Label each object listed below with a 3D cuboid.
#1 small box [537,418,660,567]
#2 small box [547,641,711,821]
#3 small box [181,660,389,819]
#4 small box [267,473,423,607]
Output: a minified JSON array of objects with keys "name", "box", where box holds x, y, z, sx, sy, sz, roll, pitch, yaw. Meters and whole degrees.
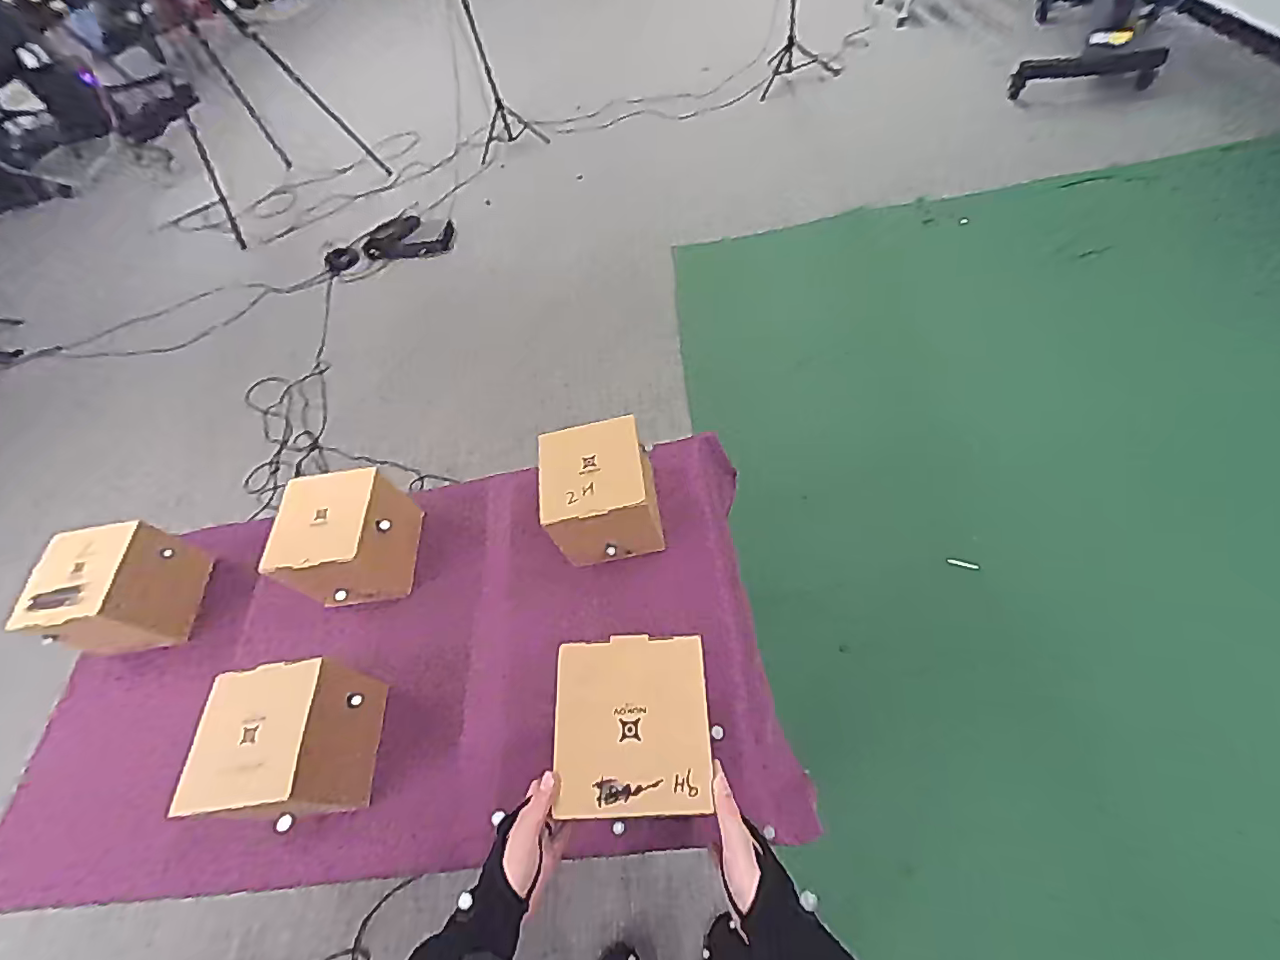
[{"name":"small box","box":[-0.068,0.026,0.922,0.168,0.176,0.179,-13,57,8]},{"name":"small box","box":[-0.004,0.306,0.651,0.168,0.176,0.179,-5,59,7]},{"name":"small box","box":[-0.497,0.384,0.792,0.168,0.176,0.179,-11,55,7]},{"name":"small box","box":[-0.513,0.112,0.972,0.168,0.176,0.179,-8,58,7]}]
